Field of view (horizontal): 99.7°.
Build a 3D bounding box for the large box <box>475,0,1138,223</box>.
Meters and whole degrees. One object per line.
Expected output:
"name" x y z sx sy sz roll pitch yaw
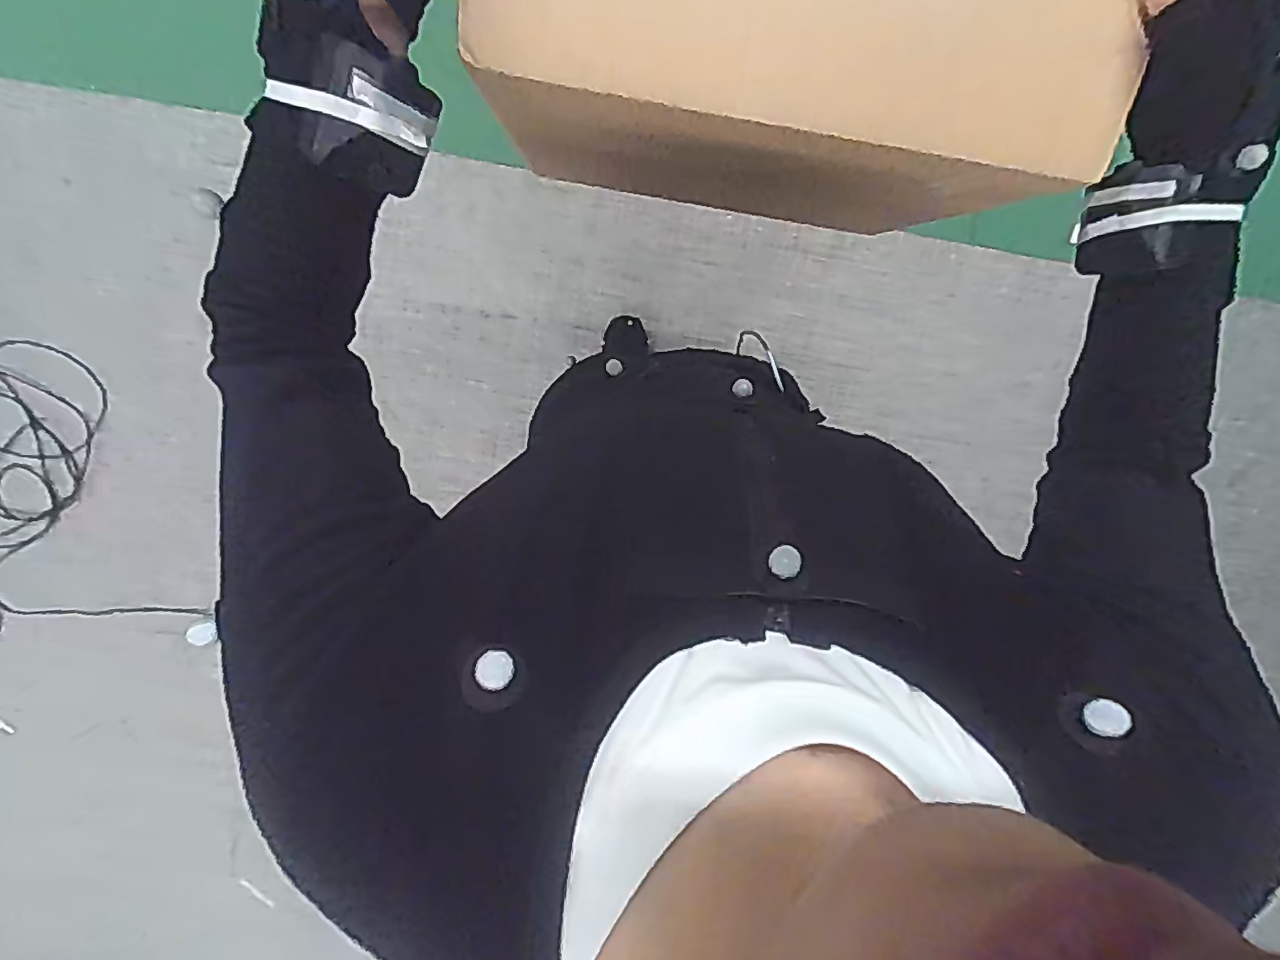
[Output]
"large box" 0.105 -0.417 0.434 0.408 0.320 0.320 7 109 -5
